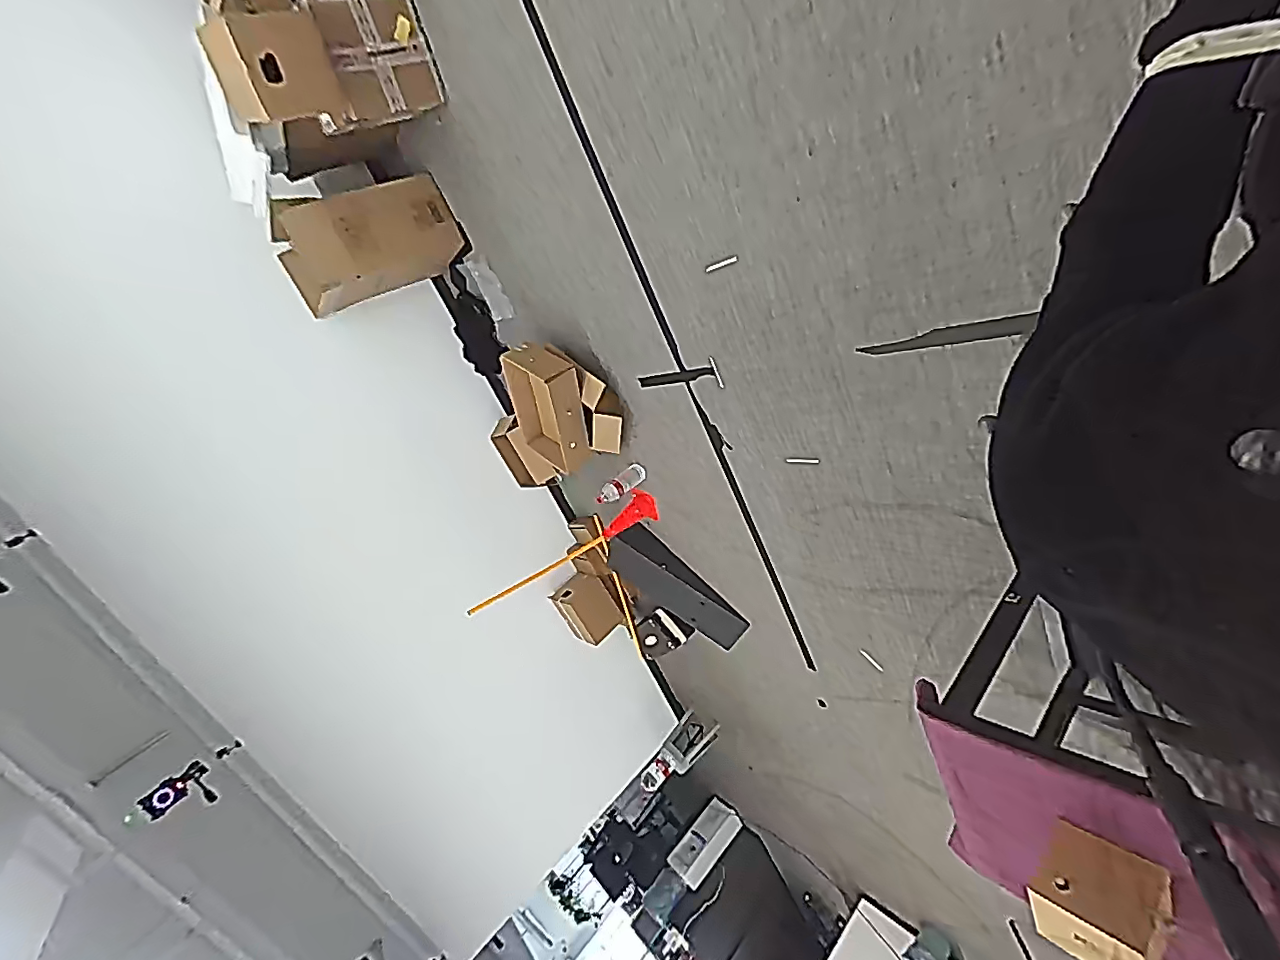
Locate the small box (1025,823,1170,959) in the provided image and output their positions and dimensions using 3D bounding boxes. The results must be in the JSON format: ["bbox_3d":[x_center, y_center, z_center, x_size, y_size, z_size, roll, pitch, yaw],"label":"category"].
[{"bbox_3d":[0.885,0.811,1.046,0.179,0.176,0.168,7,129,53],"label":"small box"}]
